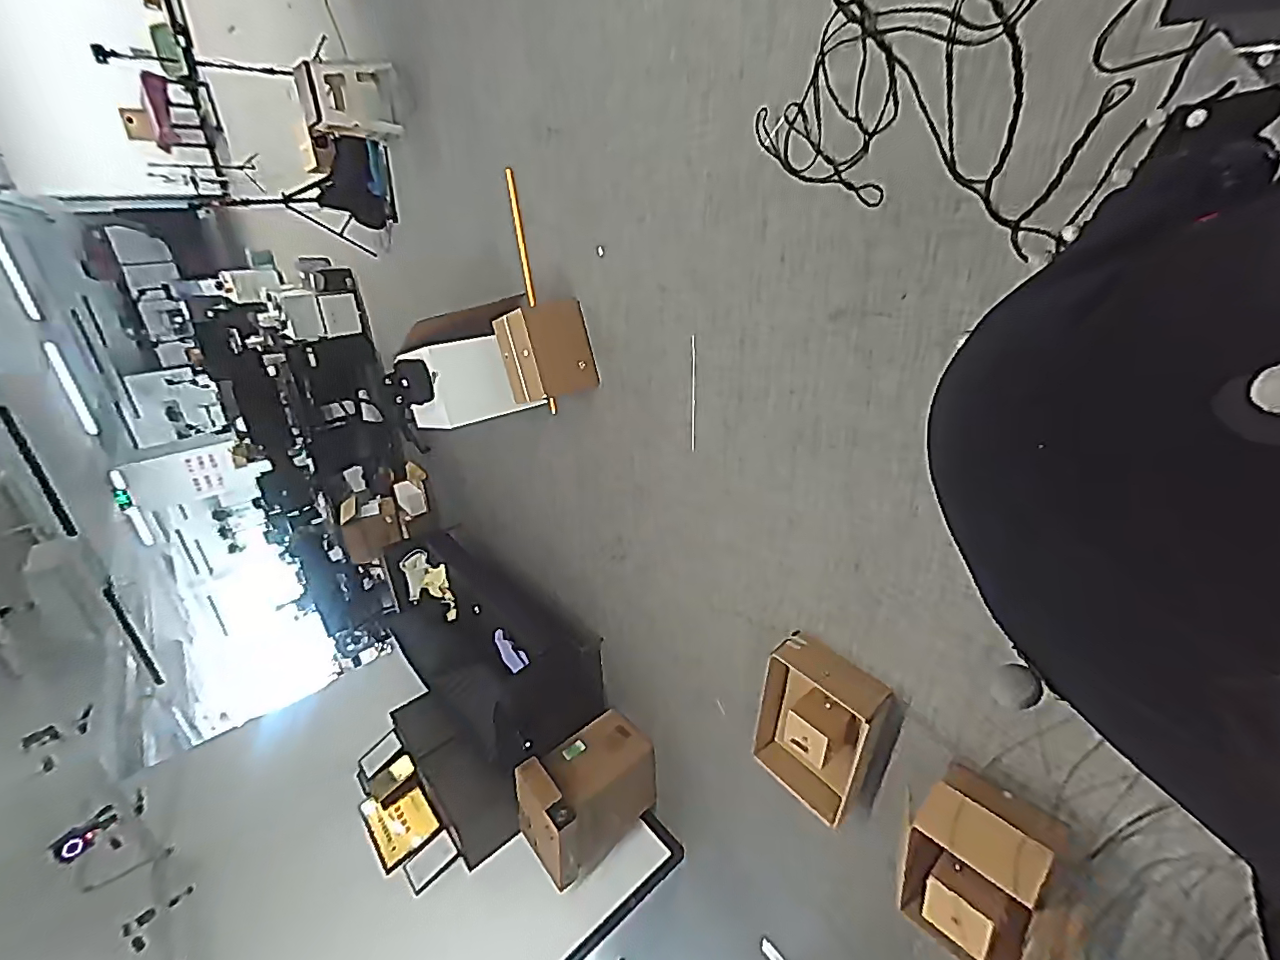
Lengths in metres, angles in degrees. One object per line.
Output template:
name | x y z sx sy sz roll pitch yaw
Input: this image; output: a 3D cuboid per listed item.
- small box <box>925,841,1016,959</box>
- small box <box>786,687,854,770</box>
small box | 0.938 1.184 1.532 0.168 0.176 0.179 20 122 47
small box | 0.660 0.905 1.980 0.168 0.176 0.179 28 129 43
